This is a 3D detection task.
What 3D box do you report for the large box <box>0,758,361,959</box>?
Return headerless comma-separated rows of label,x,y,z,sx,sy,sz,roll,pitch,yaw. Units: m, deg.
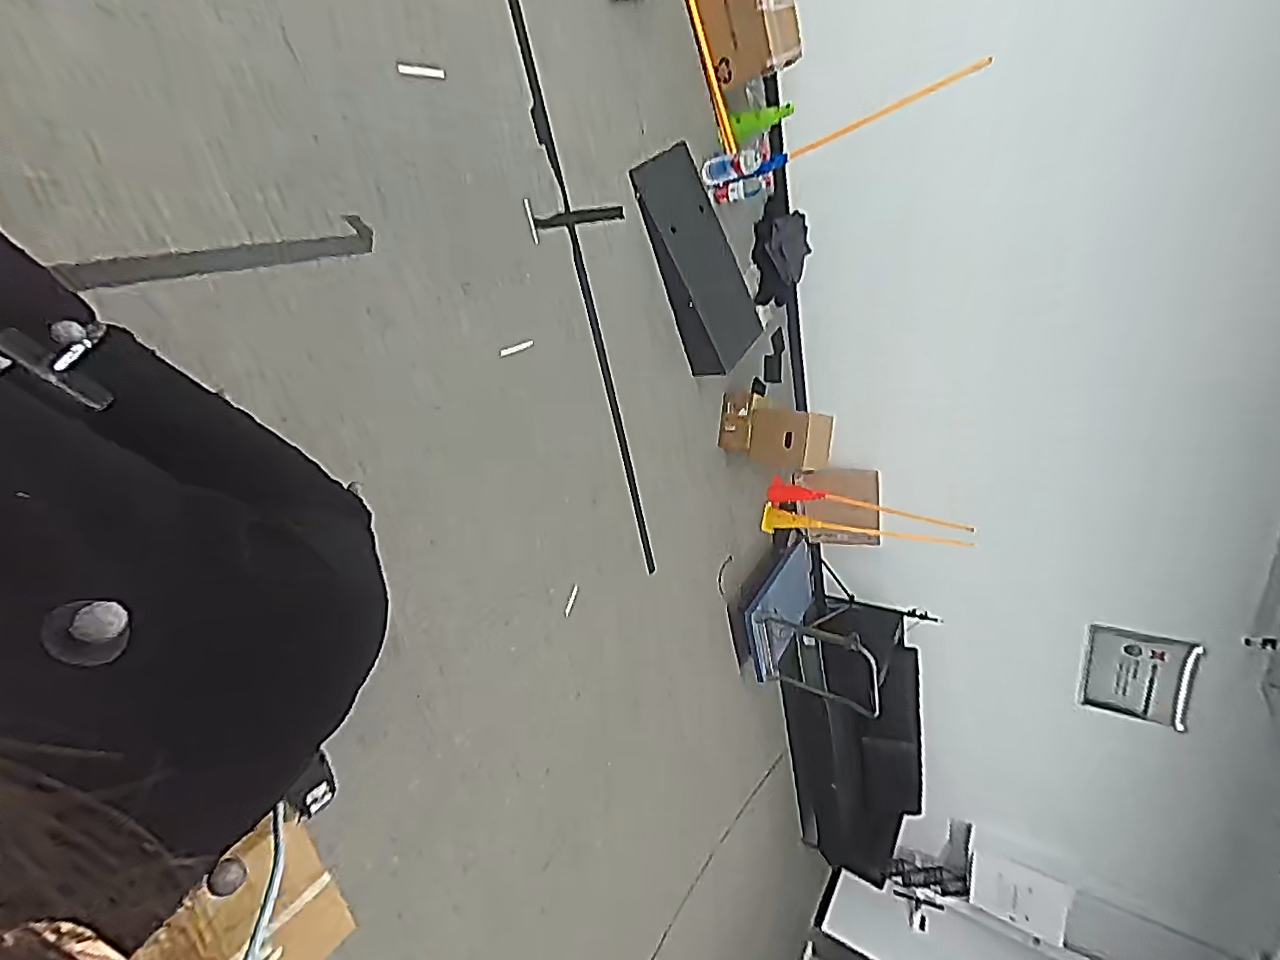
large box,-0.809,0.804,0.961,0.408,0.320,0.320,-34,121,-47
